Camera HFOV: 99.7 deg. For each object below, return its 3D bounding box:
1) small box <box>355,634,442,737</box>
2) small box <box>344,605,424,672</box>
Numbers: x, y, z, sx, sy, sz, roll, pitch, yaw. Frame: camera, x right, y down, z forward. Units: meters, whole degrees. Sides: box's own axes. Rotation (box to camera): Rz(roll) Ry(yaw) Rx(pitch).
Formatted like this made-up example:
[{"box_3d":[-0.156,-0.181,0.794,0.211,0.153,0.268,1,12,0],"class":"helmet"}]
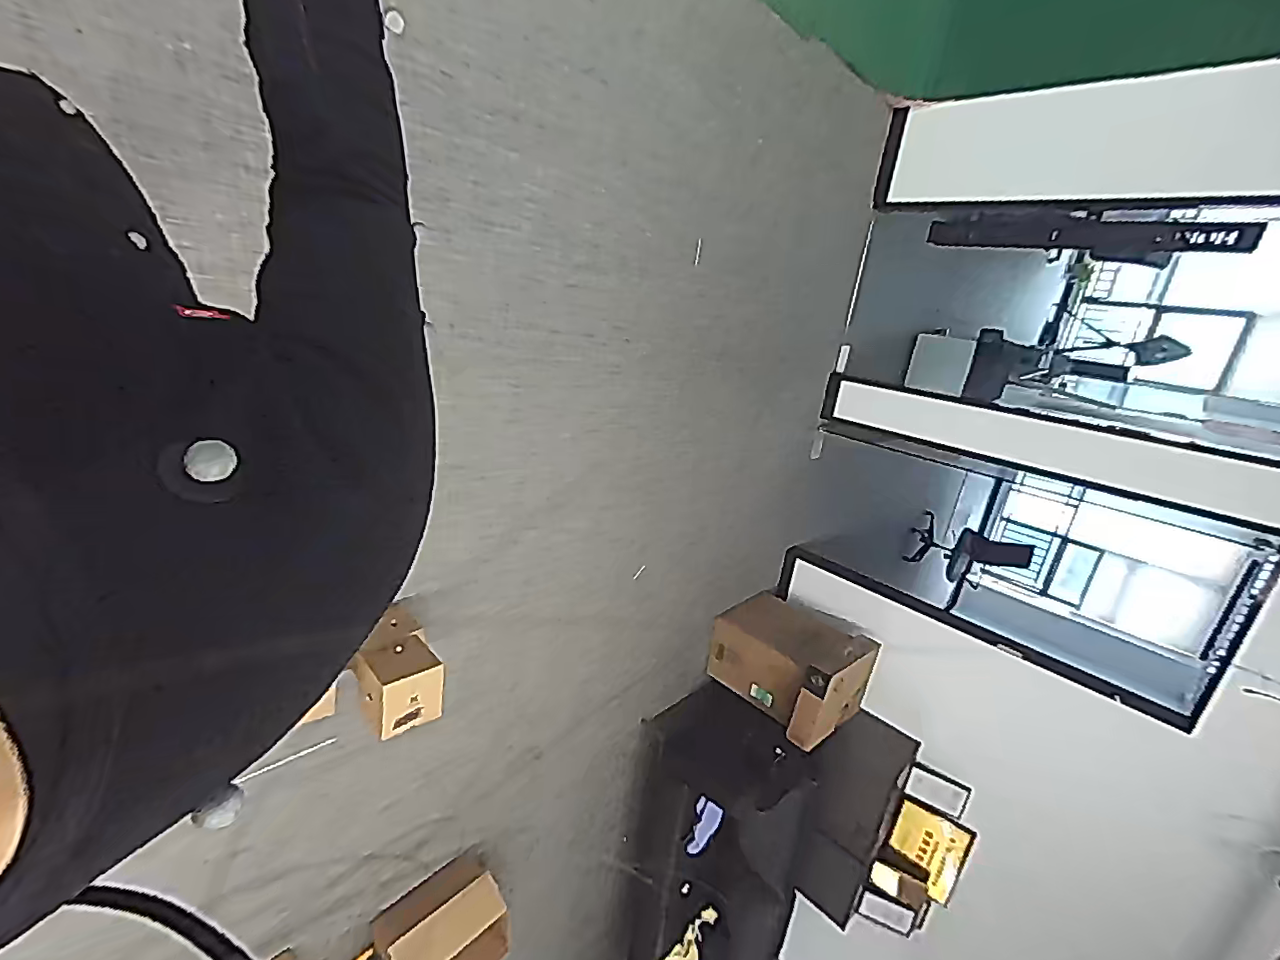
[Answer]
[{"box_3d":[-0.669,0.559,1.492,0.168,0.176,0.179,-8,114,-46],"class":"small box"},{"box_3d":[-0.763,0.497,1.617,0.168,0.176,0.179,-17,121,-43],"class":"small box"}]
